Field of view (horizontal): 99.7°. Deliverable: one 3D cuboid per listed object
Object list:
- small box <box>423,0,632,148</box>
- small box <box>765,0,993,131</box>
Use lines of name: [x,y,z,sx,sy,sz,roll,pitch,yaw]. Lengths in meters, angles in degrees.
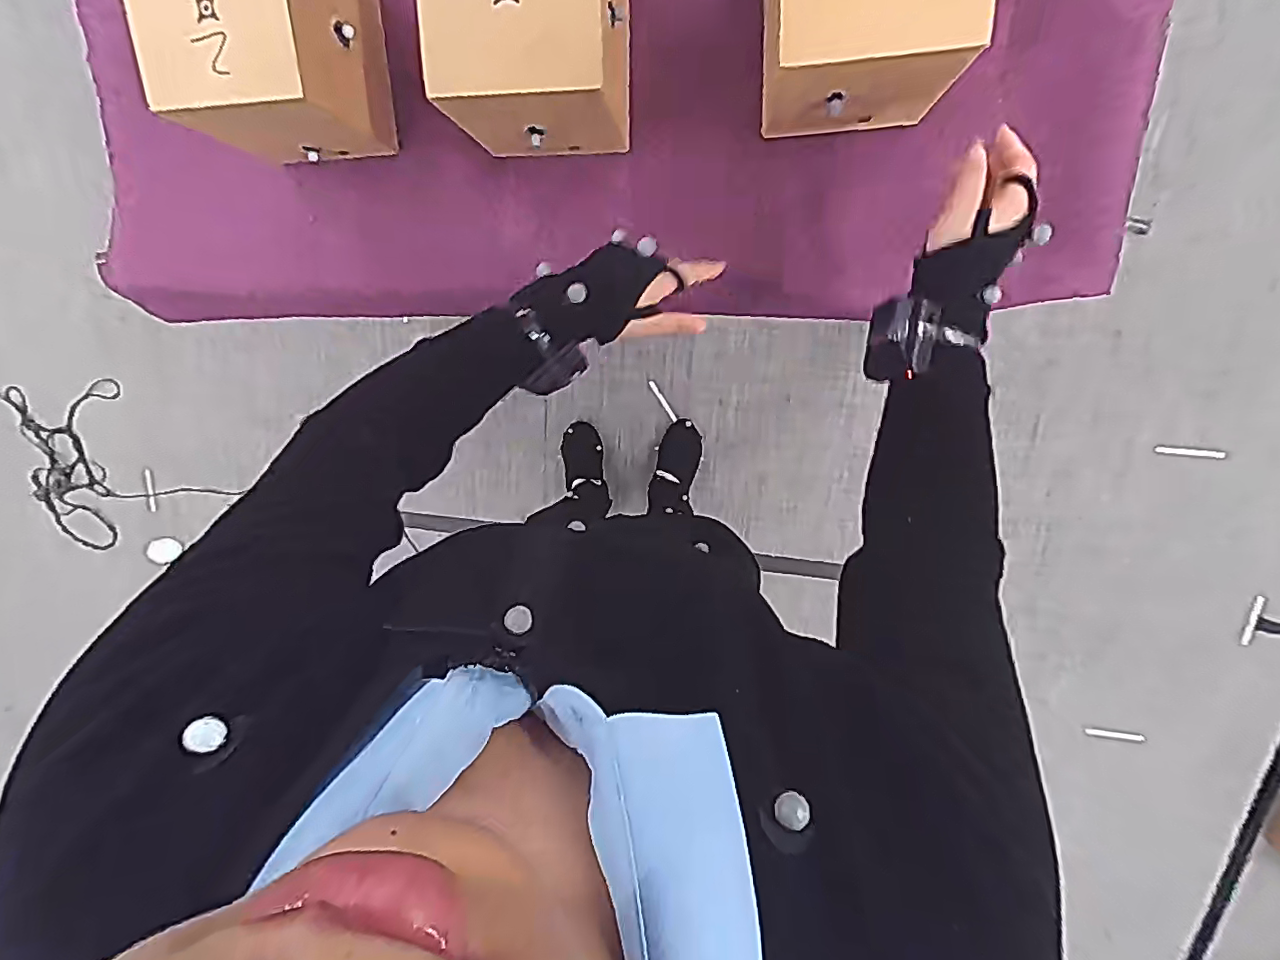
small box: [-0.099,-0.450,0.540,0.168,0.176,0.179,2,104,6]
small box: [0.208,-0.449,0.502,0.168,0.176,0.179,0,103,8]
